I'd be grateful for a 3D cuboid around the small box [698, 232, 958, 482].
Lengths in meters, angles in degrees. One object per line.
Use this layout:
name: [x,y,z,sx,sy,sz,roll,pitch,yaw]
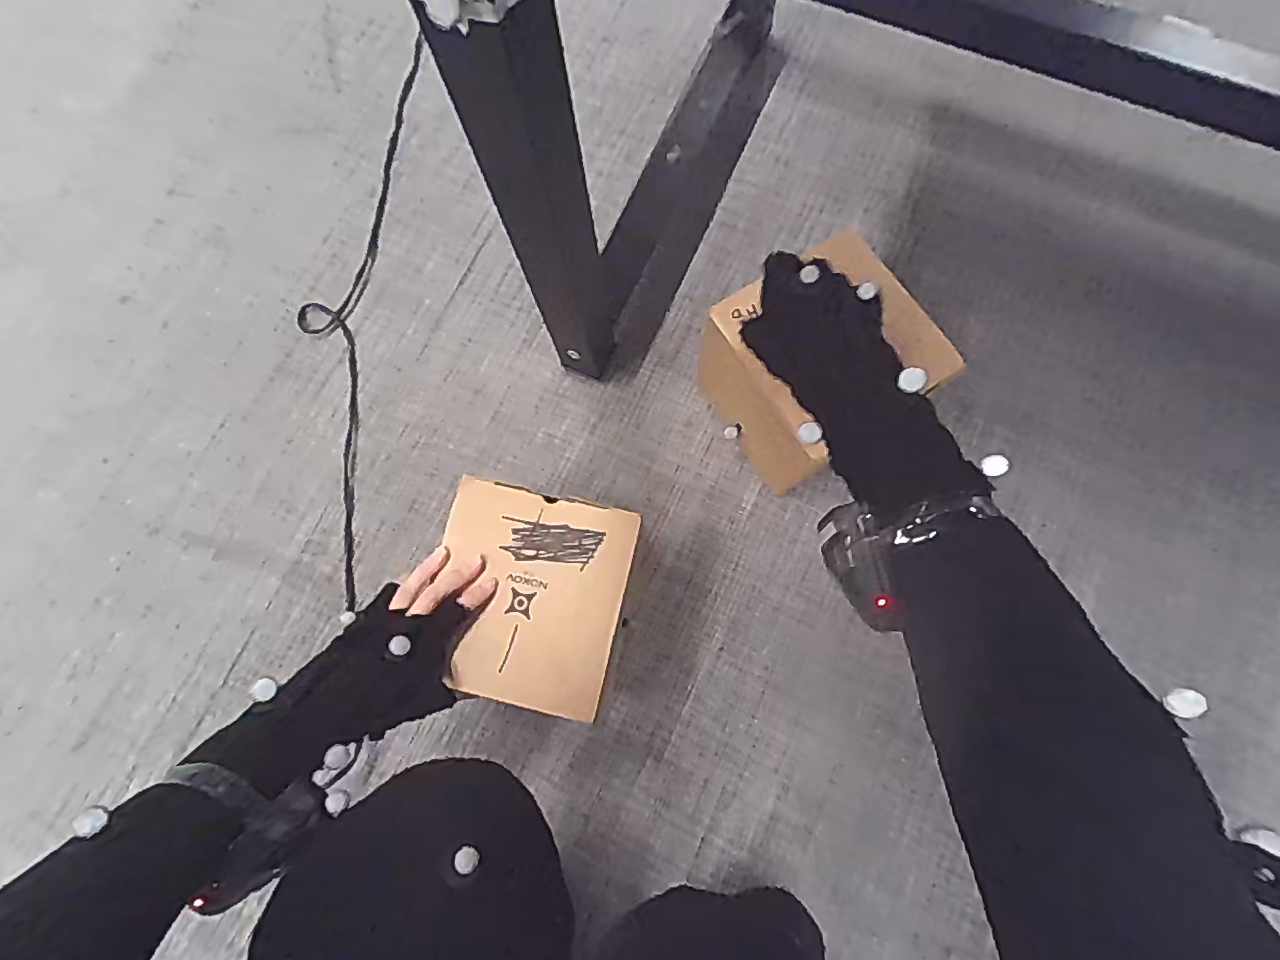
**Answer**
small box: [0.179,-0.112,0.576,0.168,0.176,0.179,-32,80,-6]
